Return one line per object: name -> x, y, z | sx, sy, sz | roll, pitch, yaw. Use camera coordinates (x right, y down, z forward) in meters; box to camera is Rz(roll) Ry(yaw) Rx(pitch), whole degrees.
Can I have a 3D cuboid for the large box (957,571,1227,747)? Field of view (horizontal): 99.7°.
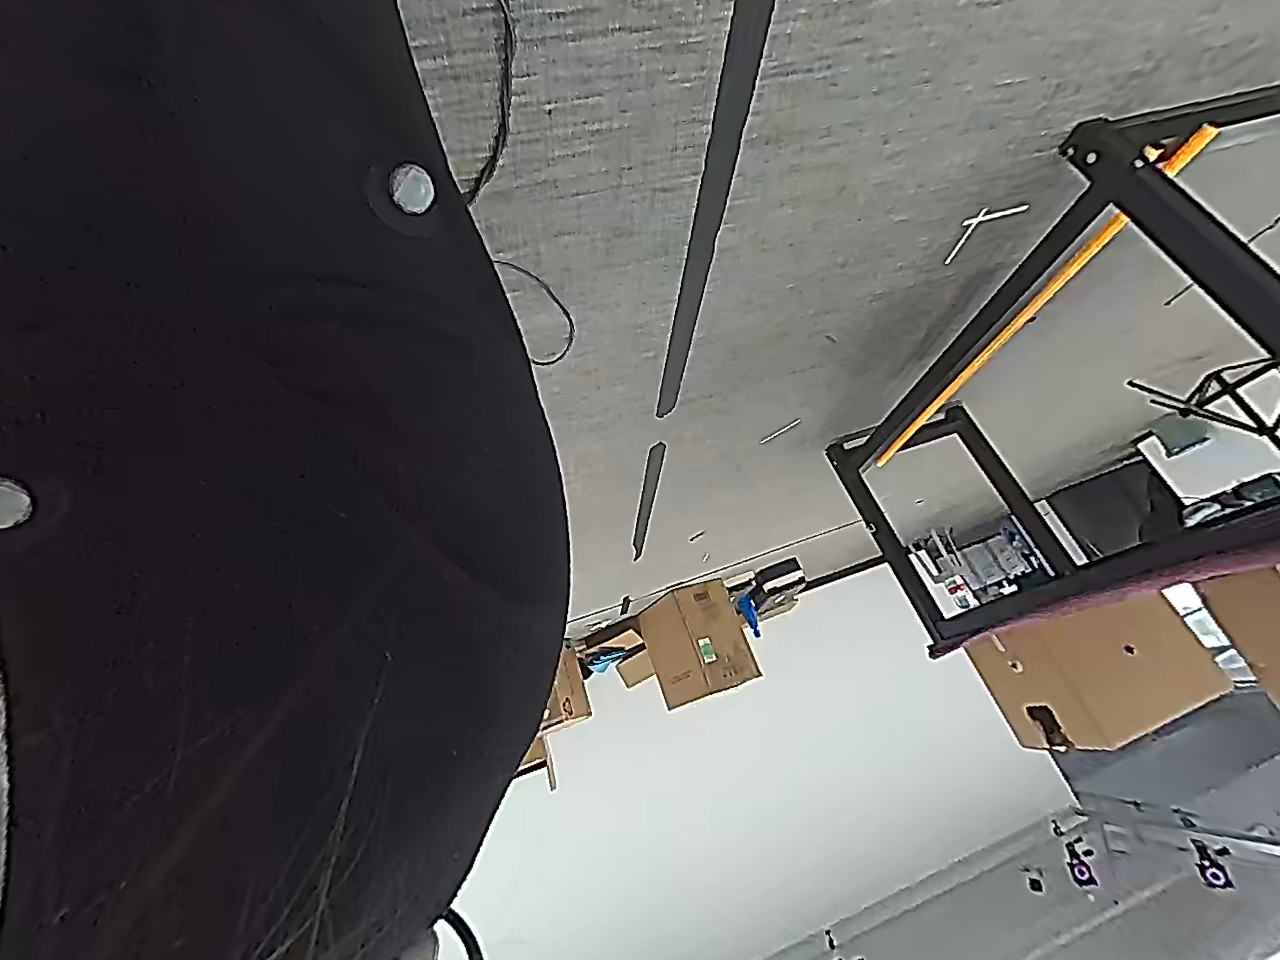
large box -> 1.190, 0.491, 1.475 | 0.408, 0.320, 0.320 | -18, 158, -11
